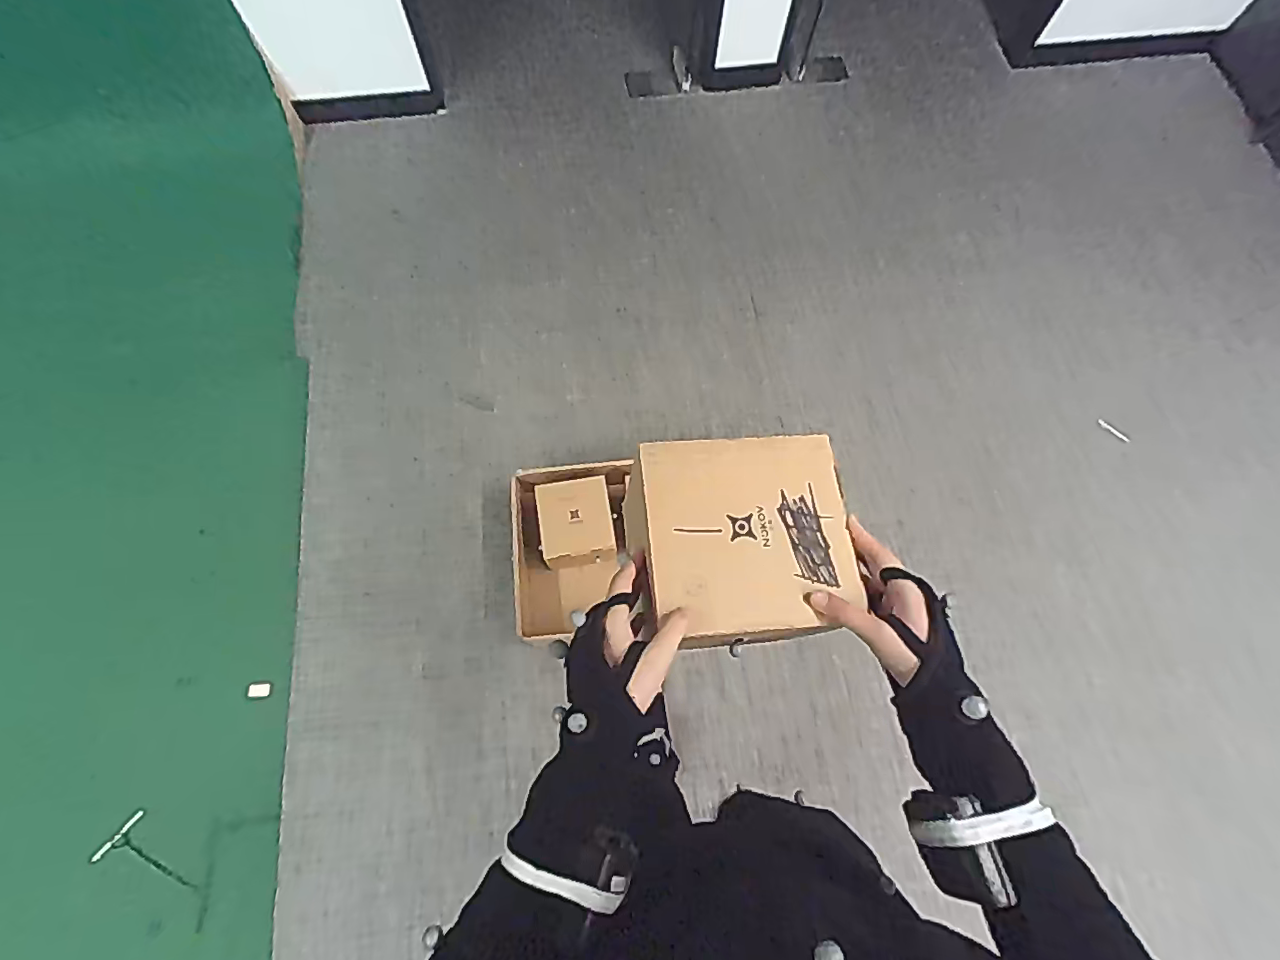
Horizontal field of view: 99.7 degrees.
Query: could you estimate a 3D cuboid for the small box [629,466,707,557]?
[{"bbox_3d":[0.060,0.080,1.312,0.168,0.176,0.179,-6,73,-2],"label":"small box"}]
